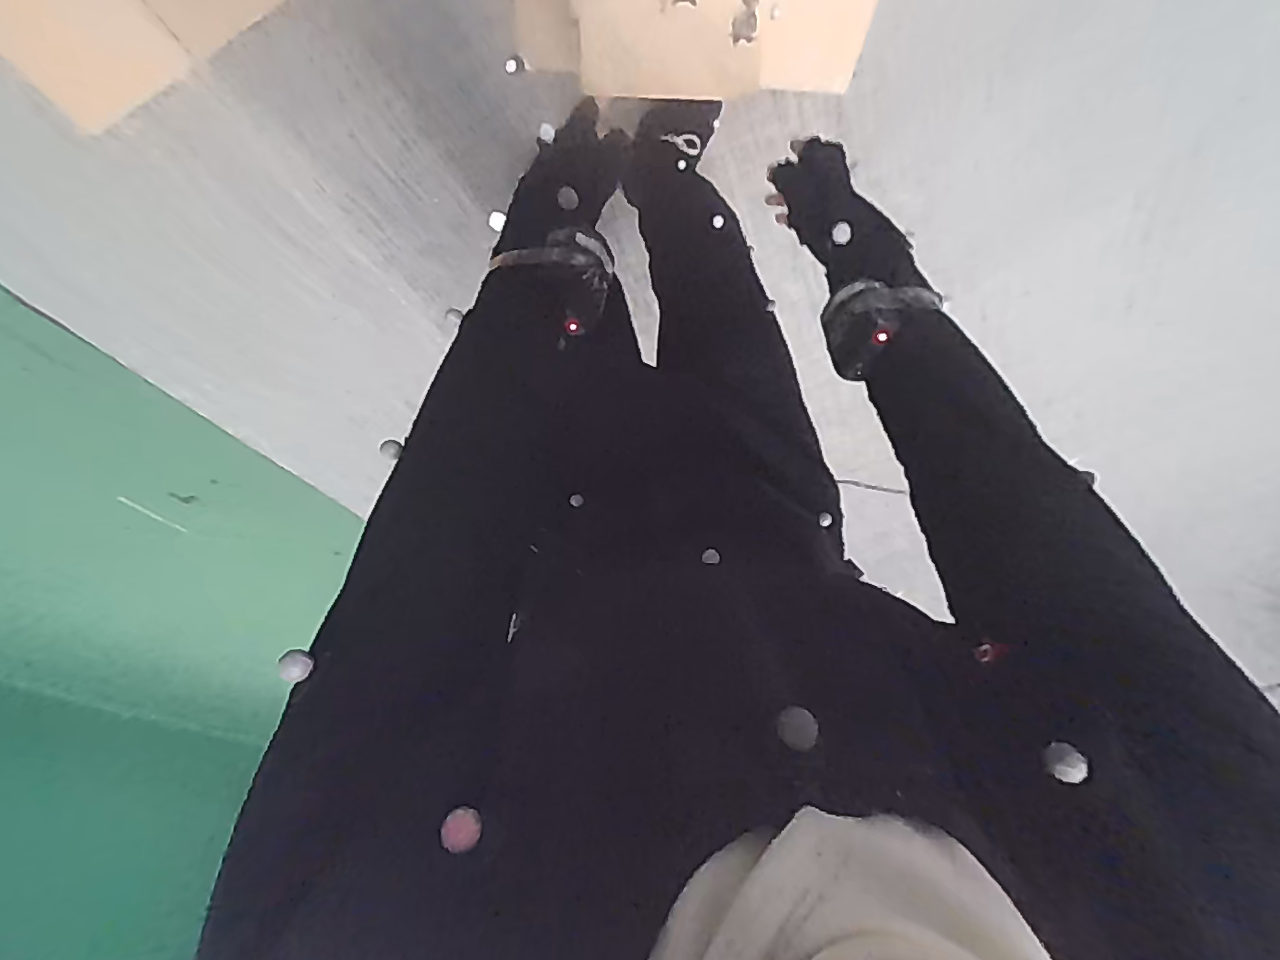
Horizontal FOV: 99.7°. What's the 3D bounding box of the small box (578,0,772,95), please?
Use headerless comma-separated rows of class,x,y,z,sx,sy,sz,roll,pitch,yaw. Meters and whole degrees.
small box,0.032,-0.494,0.524,0.179,0.176,0.168,-1,140,1
